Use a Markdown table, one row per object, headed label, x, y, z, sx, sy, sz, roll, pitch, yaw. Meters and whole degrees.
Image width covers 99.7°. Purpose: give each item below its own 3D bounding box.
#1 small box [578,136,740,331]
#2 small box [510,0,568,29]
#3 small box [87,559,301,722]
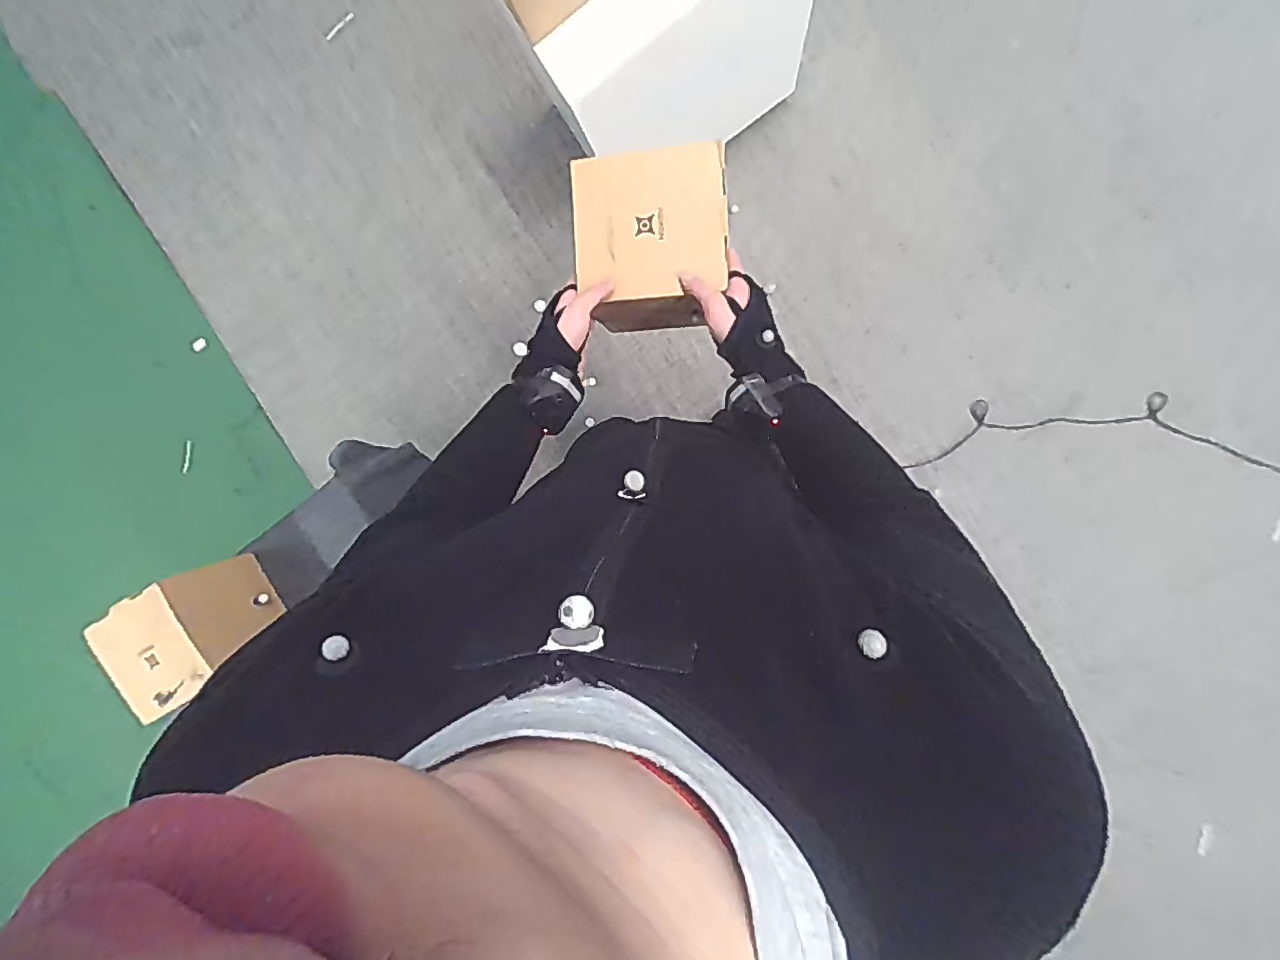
| label | x | y | z | sx | sy | sz | roll | pitch | yaw |
| --- | --- | --- | --- | --- | --- | --- | --- | --- | --- |
| small box | 0.032 | -0.291 | 0.678 | 0.179 | 0.176 | 0.168 | -3 | 93 | 11 |
| small box | -0.158 | -0.820 | 0.777 | 0.179 | 0.176 | 0.168 | -33 | 93 | 9 |
| small box | -0.711 | 0.246 | 0.881 | 0.168 | 0.176 | 0.179 | -30 | 93 | 11 |
